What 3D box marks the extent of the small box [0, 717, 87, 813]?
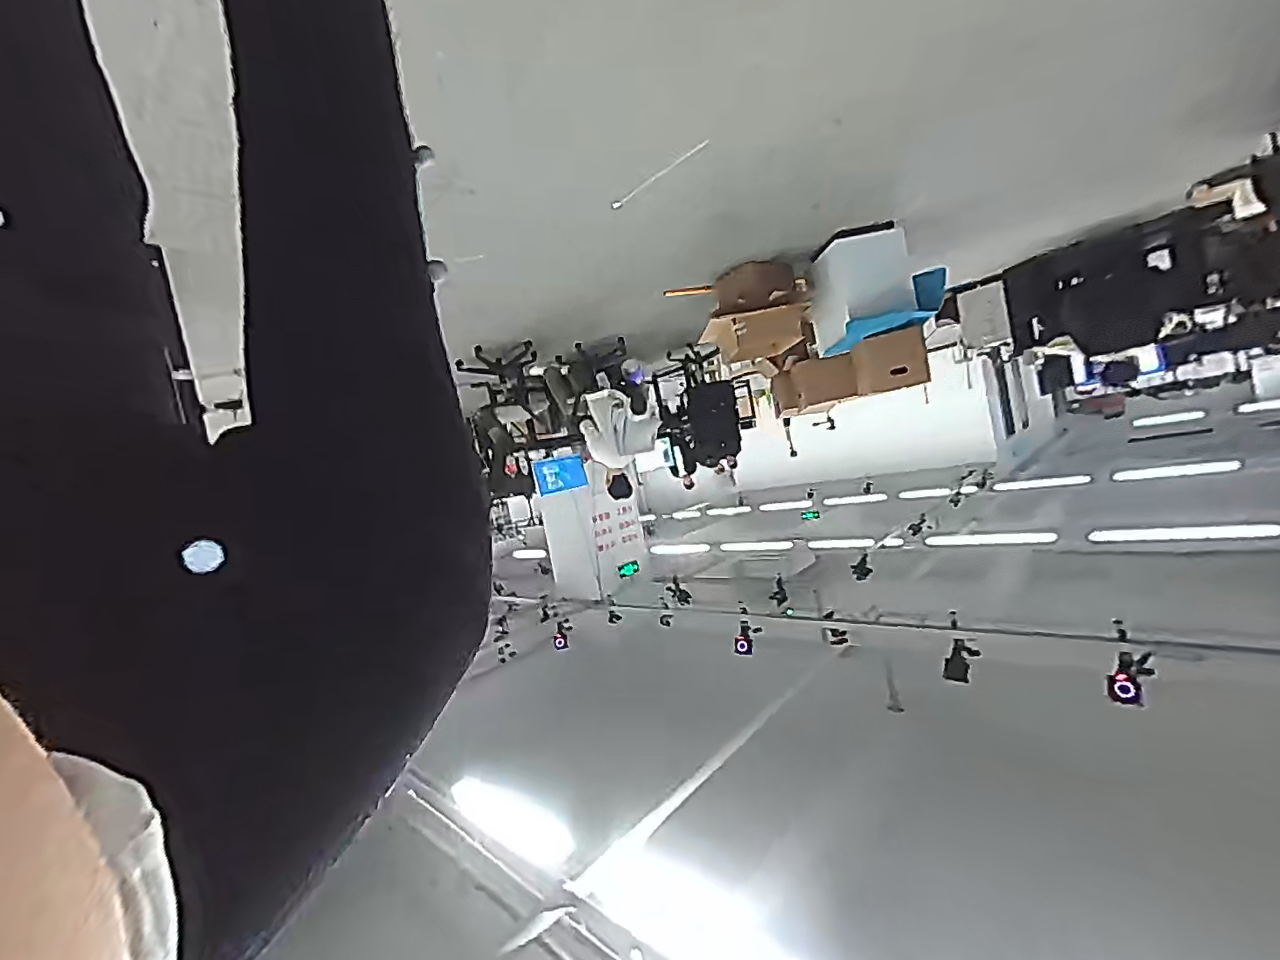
[{"bbox_3d":[-1.762,0.821,1.576,0.168,0.176,0.179,-8,-175,41],"label":"small box"}]
